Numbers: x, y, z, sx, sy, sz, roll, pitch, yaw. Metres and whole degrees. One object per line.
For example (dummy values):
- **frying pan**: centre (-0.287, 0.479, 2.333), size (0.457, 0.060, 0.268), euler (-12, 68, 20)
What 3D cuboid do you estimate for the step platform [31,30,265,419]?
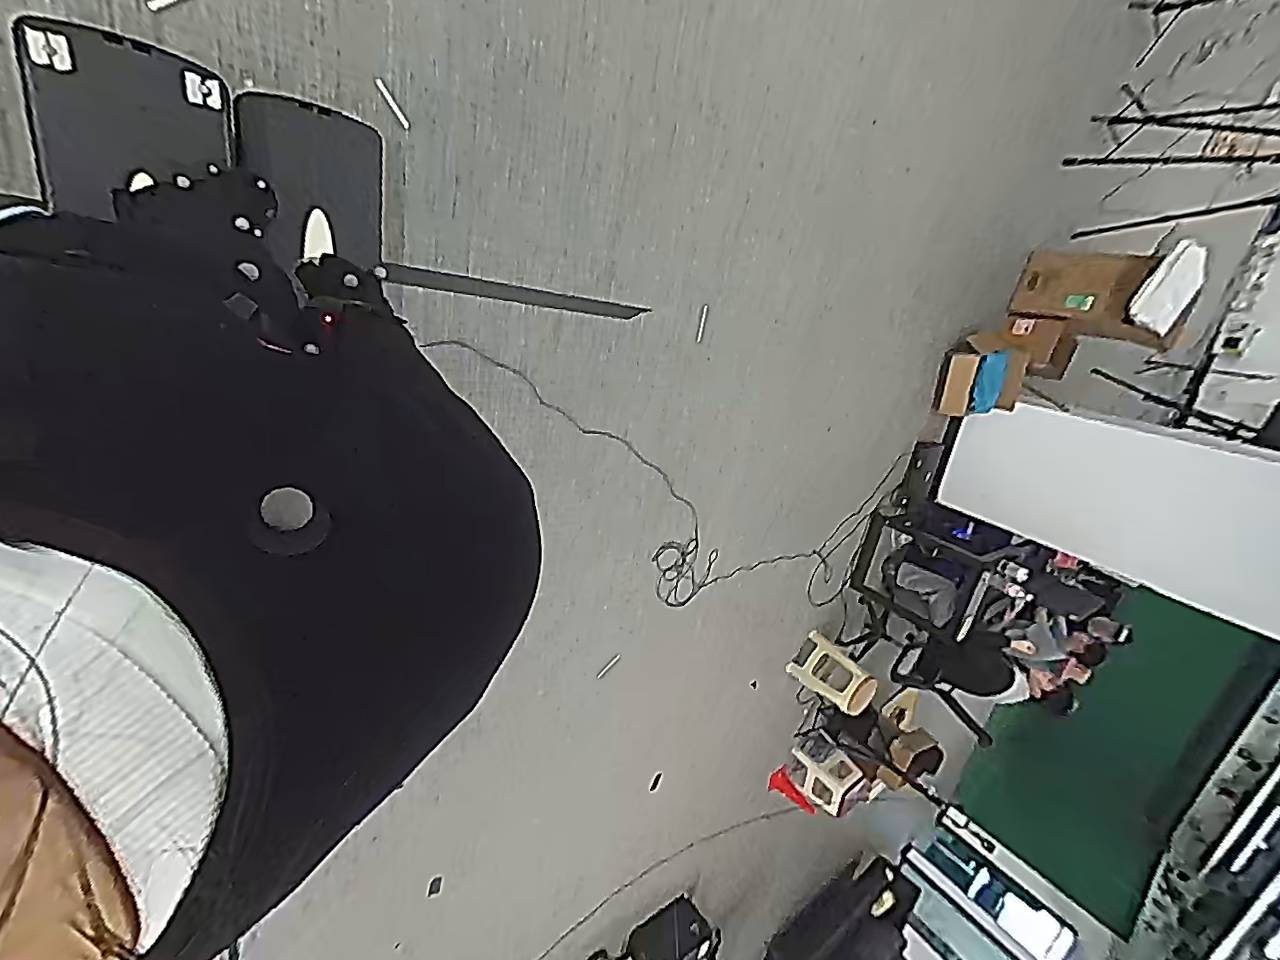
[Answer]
- **step platform**: centre (-0.964, -0.468, 1.103), size (0.286, 0.204, 0.684), euler (-7, 114, -38)
